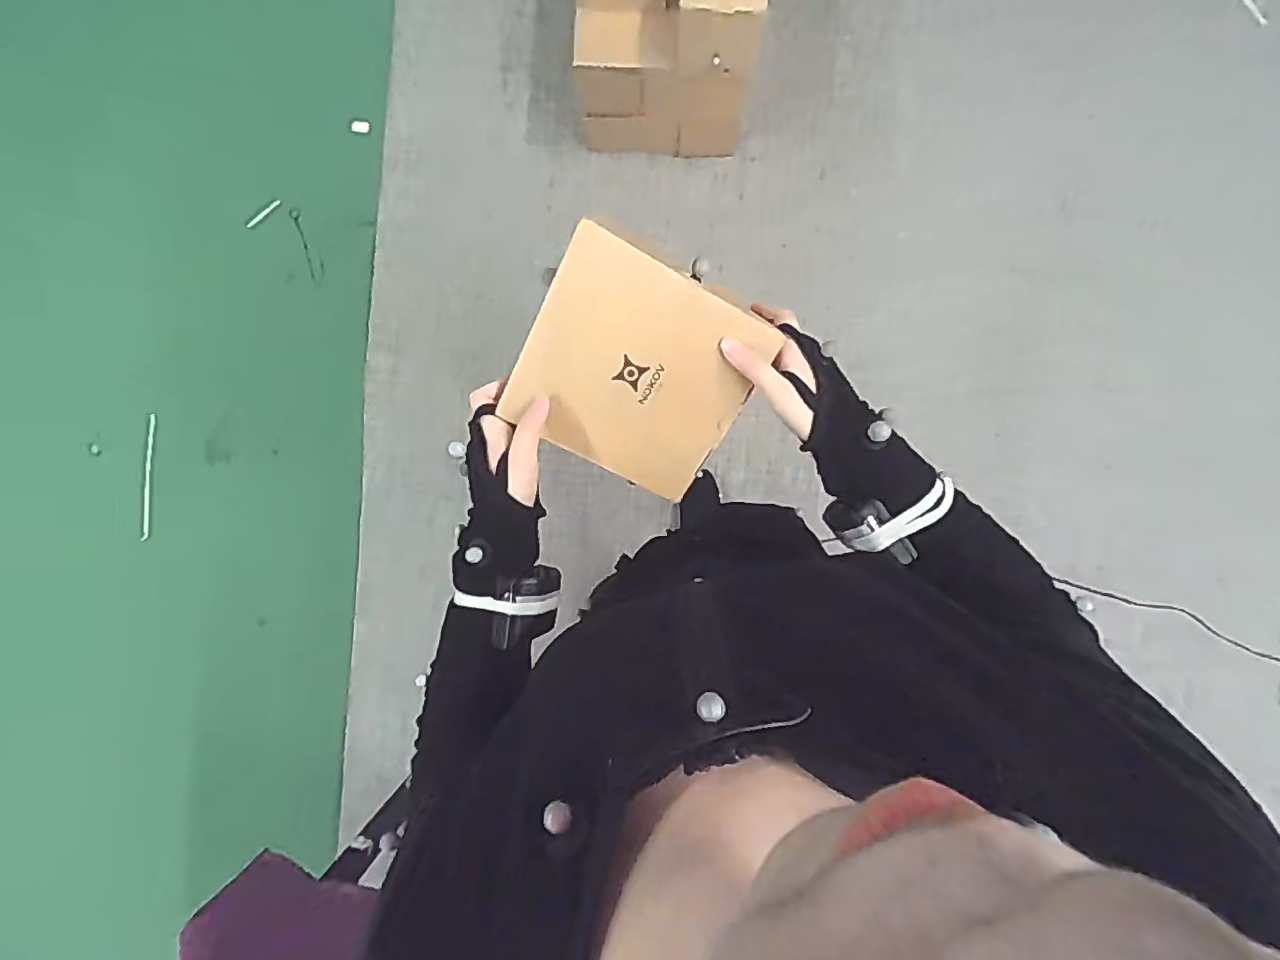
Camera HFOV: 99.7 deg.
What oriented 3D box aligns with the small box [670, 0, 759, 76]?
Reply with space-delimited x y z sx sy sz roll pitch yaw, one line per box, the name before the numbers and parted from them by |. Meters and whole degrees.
small box | 0.151 -0.968 1.090 0.168 0.176 0.179 6 90 3
